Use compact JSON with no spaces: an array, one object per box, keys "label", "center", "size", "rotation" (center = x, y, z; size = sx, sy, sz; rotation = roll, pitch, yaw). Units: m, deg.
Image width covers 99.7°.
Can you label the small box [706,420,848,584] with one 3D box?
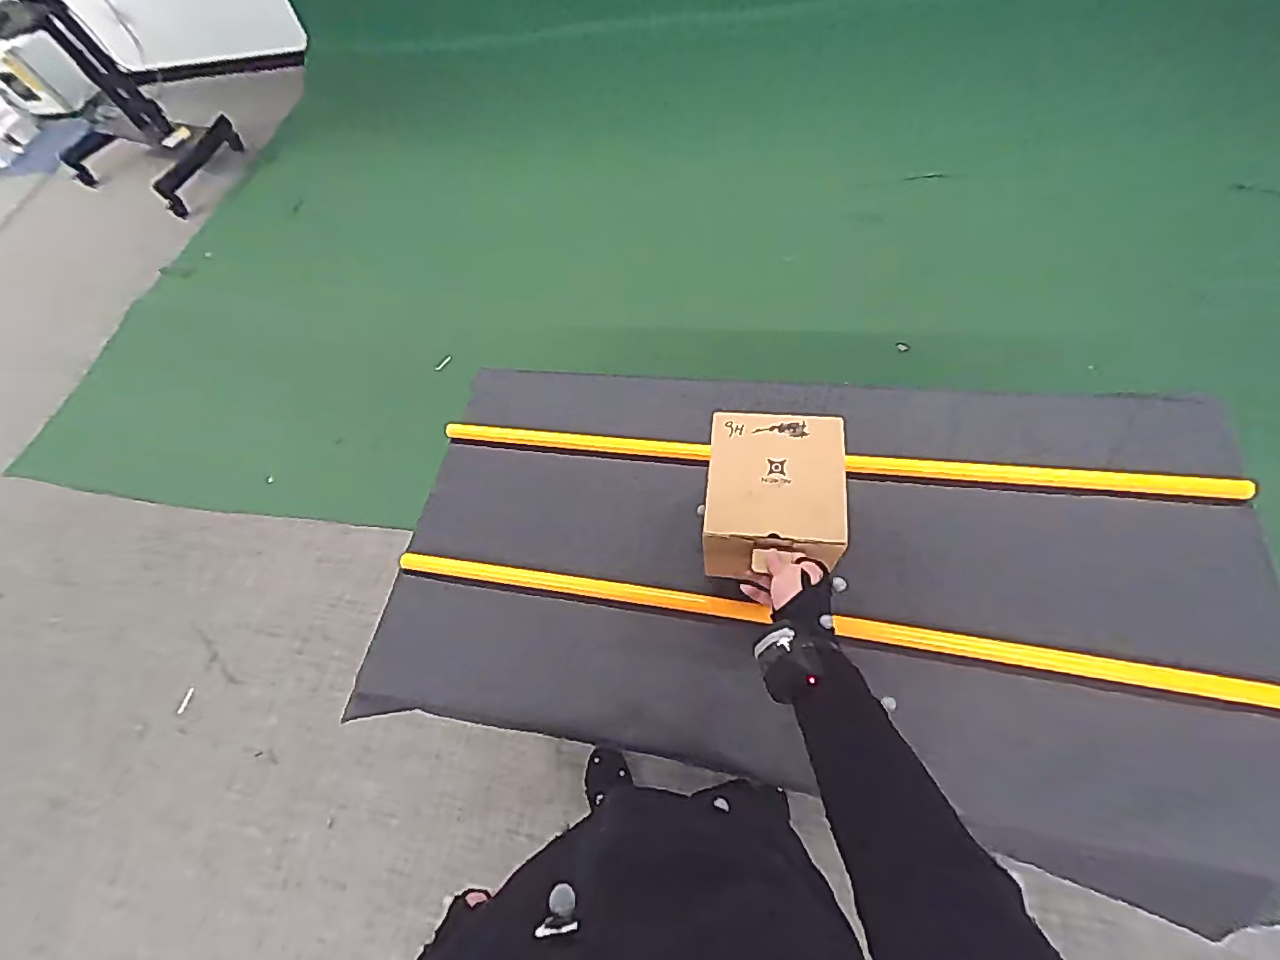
[{"label":"small box","center":[0.180,0.037,0.737],"size":[0.168,0.176,0.179],"rotation":[0,63,10]}]
